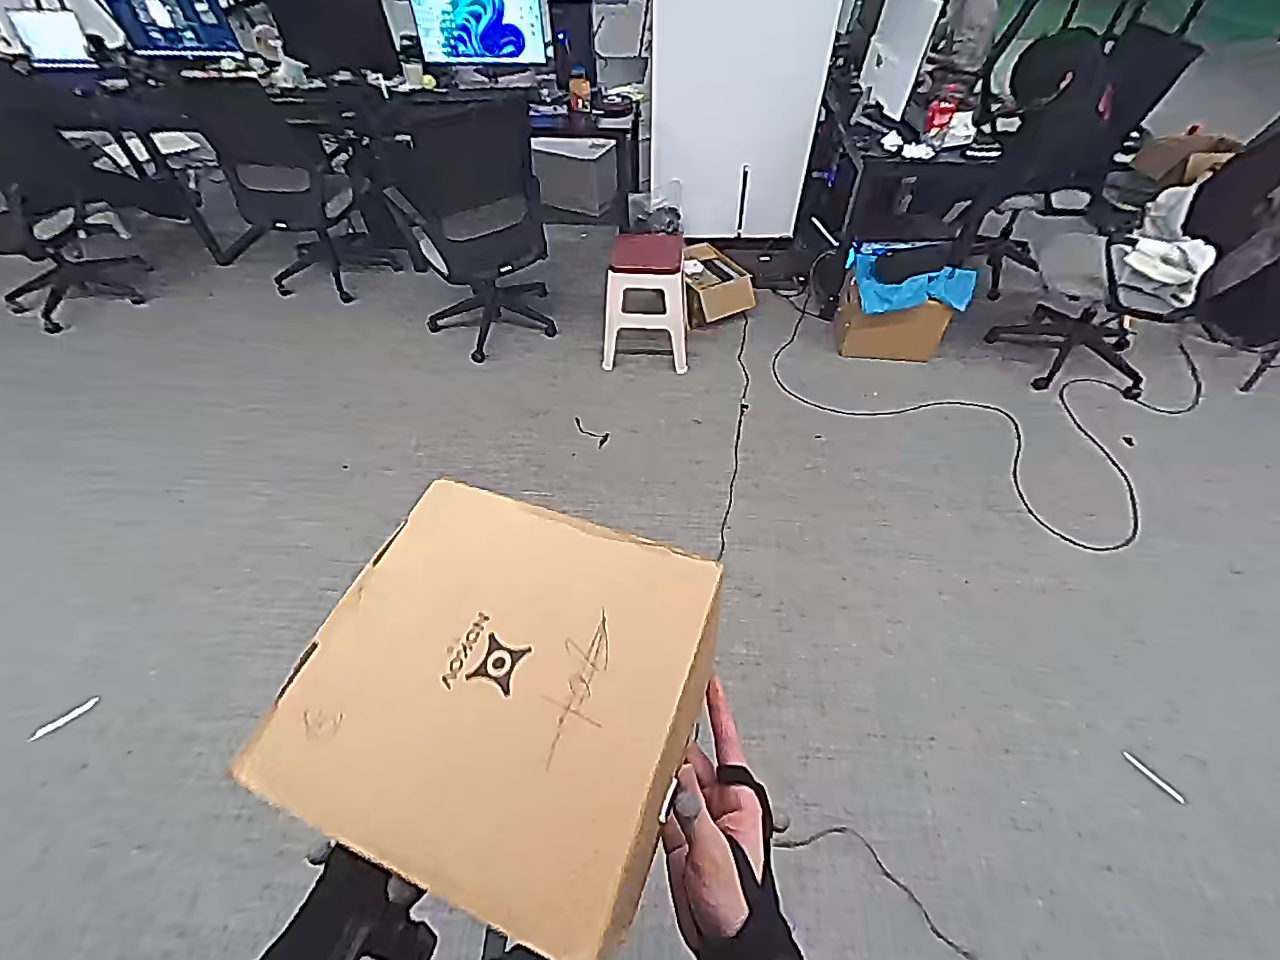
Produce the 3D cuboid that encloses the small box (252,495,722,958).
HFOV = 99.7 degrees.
[{"bbox_3d":[-0.060,0.138,0.324,0.179,0.176,0.168,15,58,14],"label":"small box"}]
